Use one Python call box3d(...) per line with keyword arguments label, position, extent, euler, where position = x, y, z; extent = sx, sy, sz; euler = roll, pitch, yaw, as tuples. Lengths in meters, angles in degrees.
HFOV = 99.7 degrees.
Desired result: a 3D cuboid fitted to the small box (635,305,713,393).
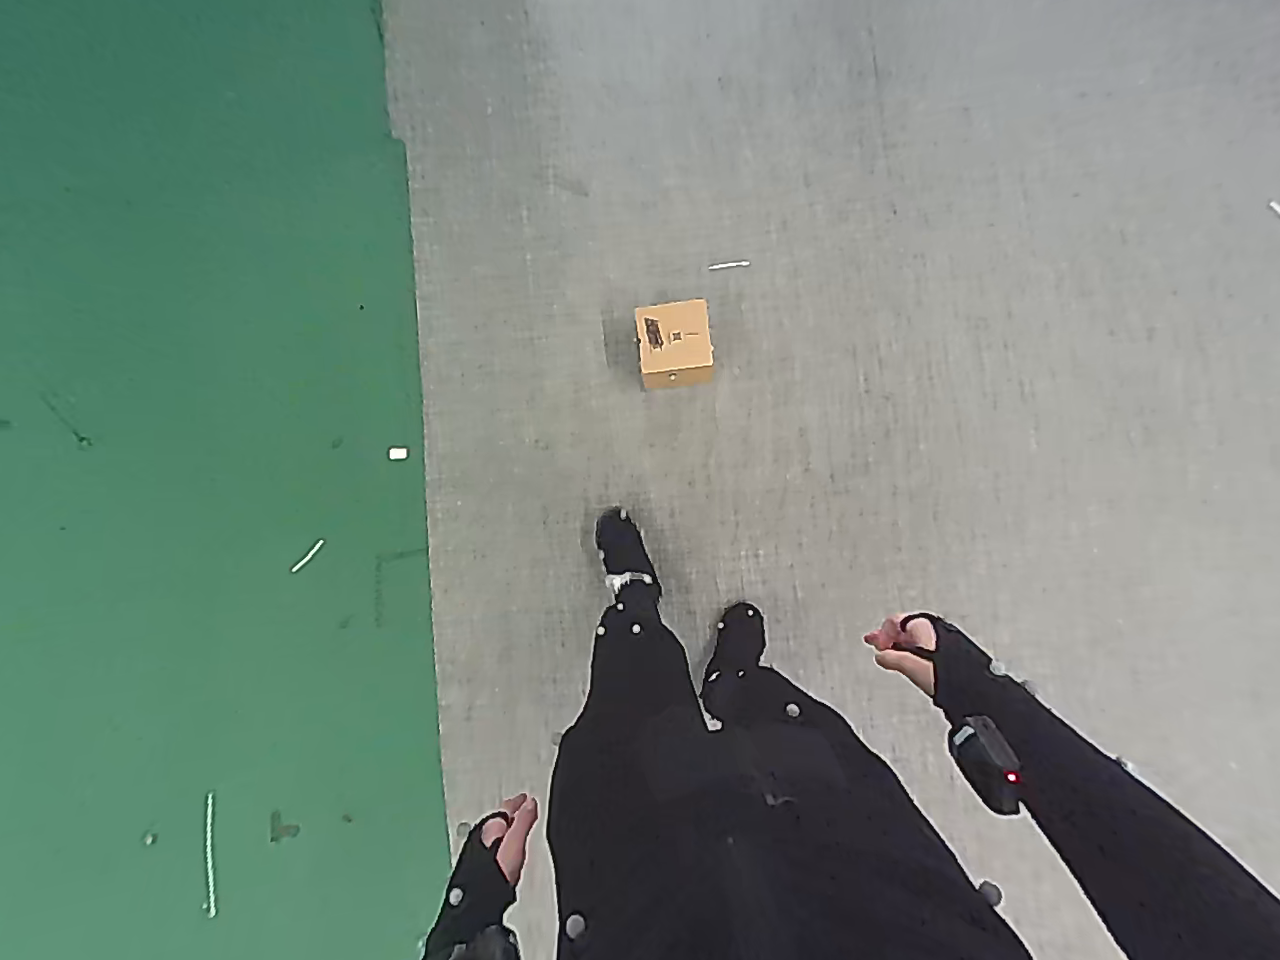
box3d(label="small box", position=(0.087, -0.329, 1.387), extent=(0.179, 0.176, 0.168), euler=(-6, 85, 2))
